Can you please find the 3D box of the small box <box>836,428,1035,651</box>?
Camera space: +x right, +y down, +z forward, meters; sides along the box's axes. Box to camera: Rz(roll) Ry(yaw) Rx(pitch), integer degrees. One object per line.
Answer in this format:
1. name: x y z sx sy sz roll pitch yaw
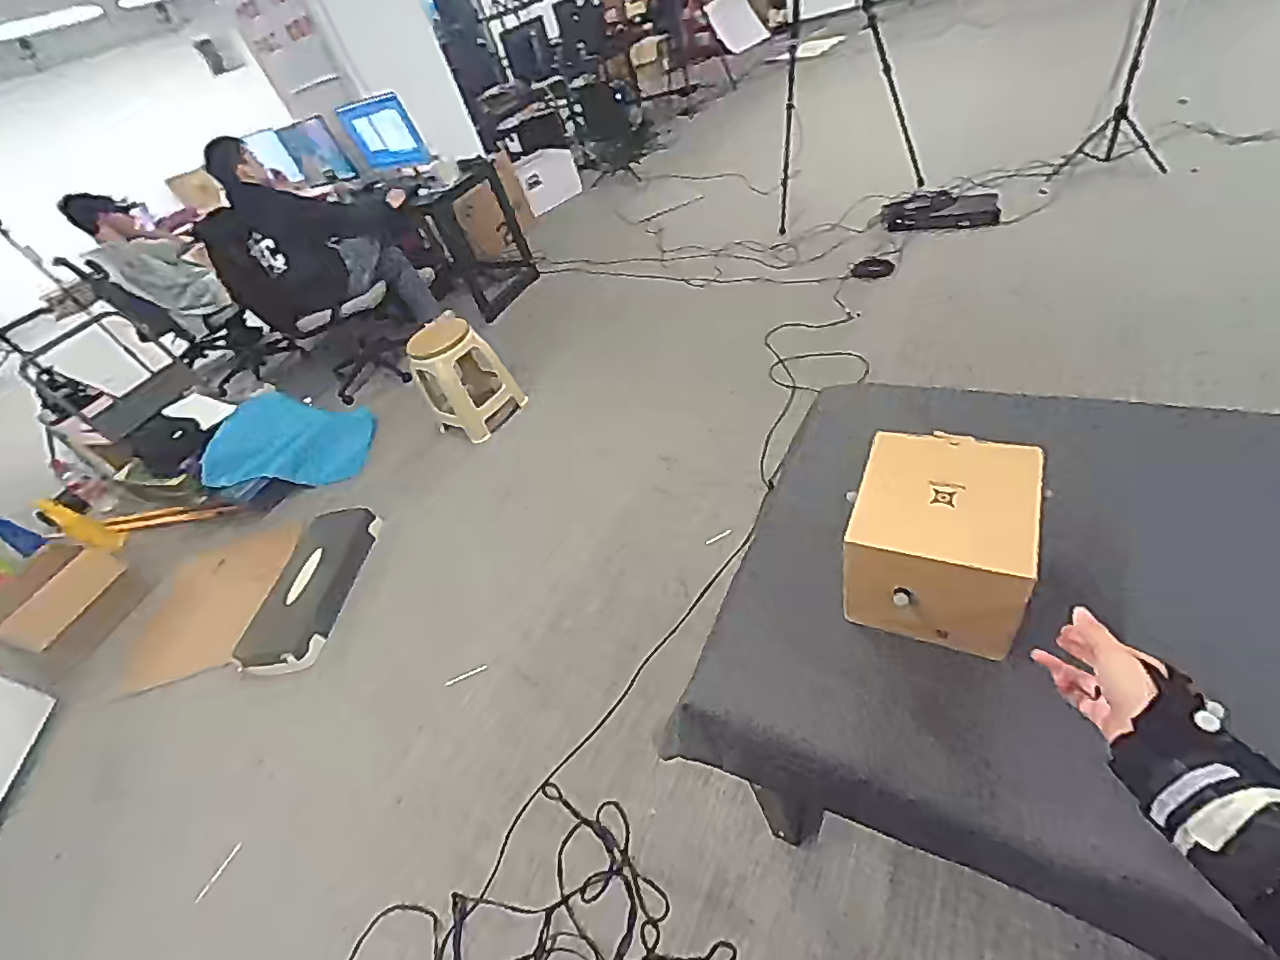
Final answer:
1. small box: 0.331 0.065 0.616 0.168 0.176 0.179 10 50 29
